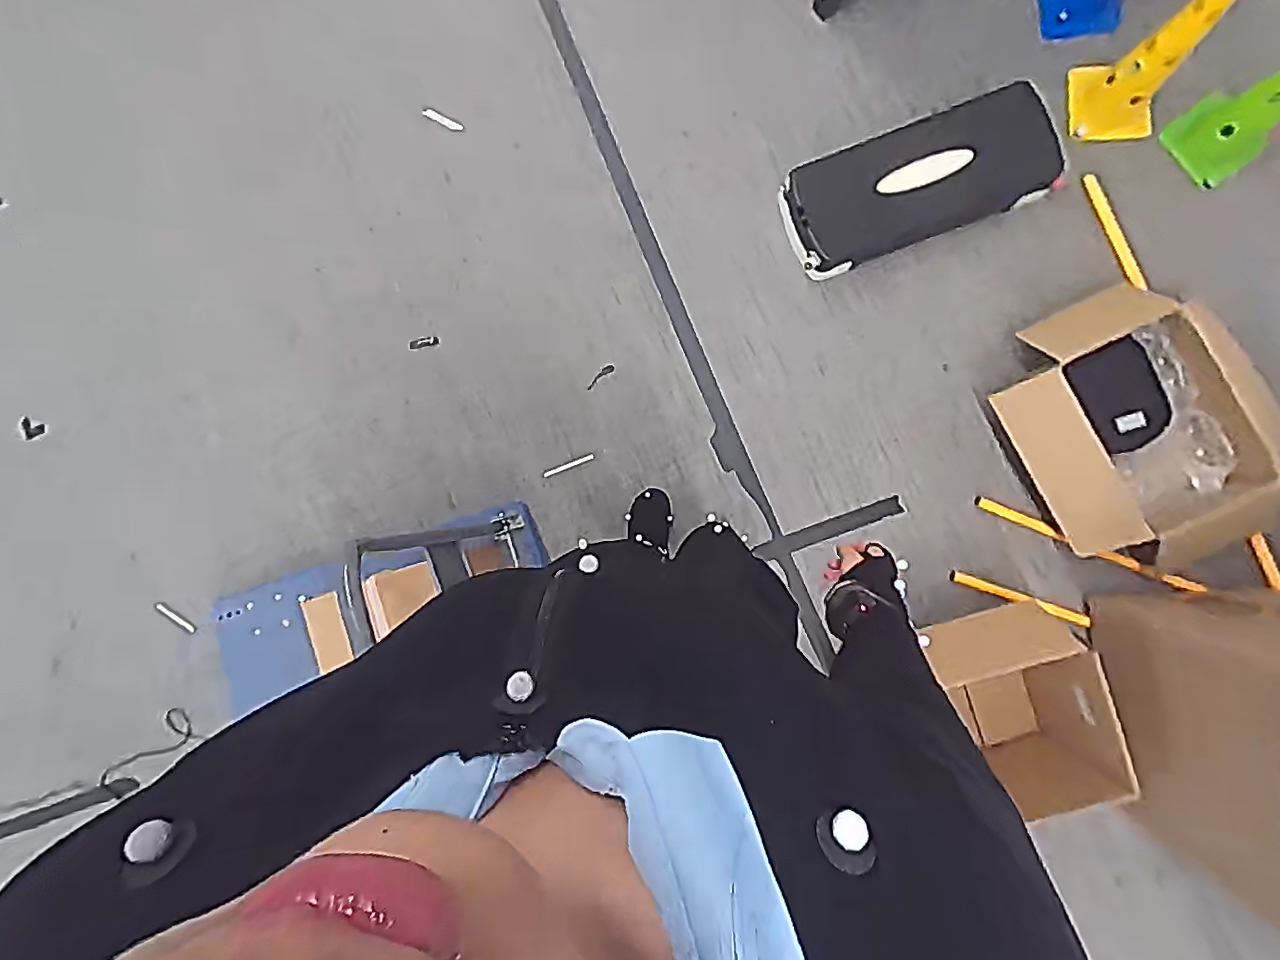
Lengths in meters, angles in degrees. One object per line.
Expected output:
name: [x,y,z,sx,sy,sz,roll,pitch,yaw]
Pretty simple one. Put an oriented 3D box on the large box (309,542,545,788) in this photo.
large box: [-0.448,0.381,1.211,0.320,0.320,0.408,-18,86,3]
